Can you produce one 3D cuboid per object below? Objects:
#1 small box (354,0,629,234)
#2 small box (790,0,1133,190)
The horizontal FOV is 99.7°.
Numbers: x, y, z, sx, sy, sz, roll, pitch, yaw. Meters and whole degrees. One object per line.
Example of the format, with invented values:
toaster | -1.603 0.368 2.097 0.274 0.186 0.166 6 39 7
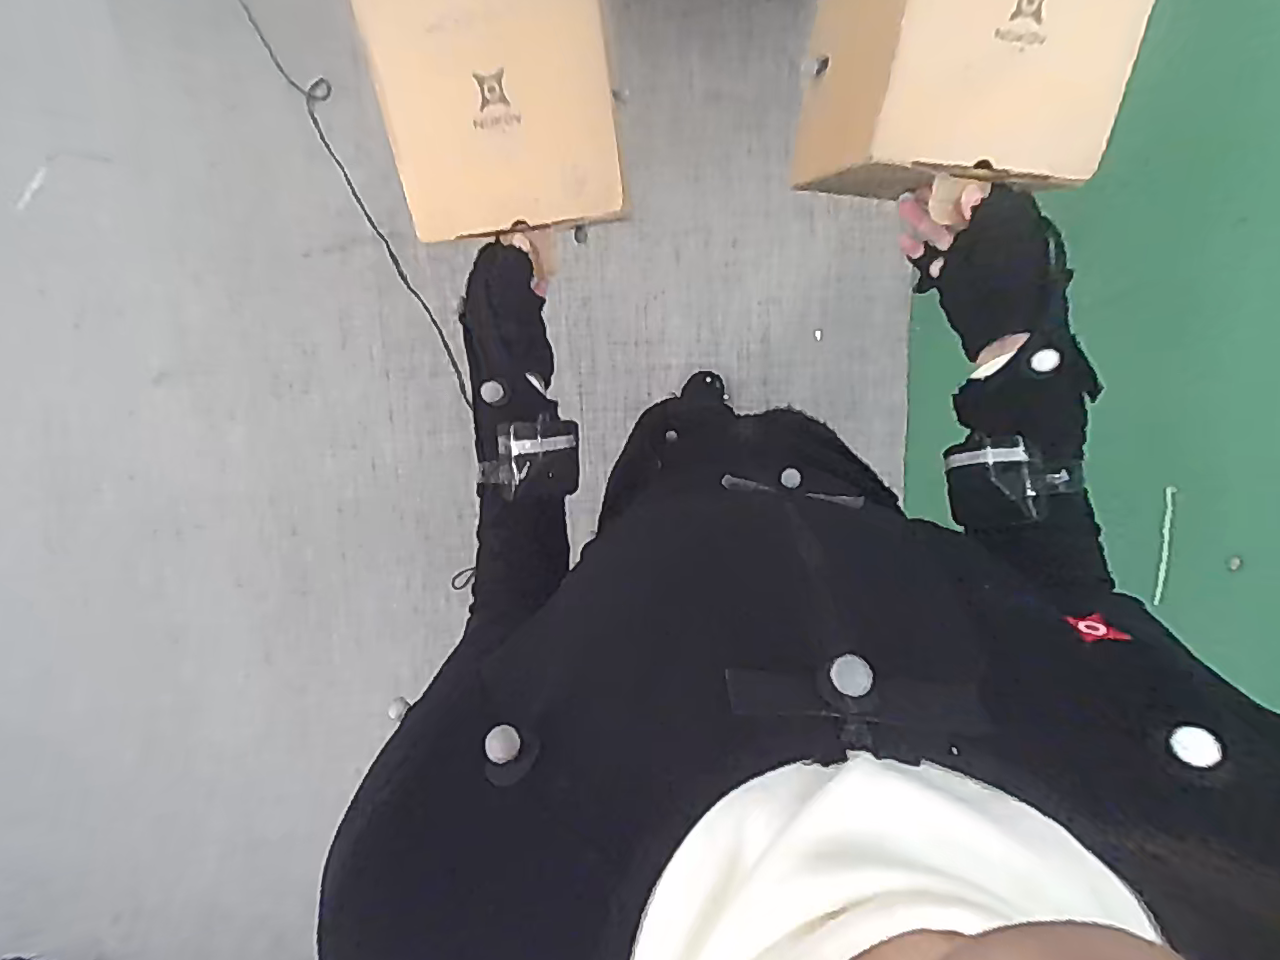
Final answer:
small box | -0.104 -0.317 0.460 0.168 0.176 0.179 -7 114 5
small box | 0.230 -0.334 0.420 0.168 0.176 0.179 3 114 -6
